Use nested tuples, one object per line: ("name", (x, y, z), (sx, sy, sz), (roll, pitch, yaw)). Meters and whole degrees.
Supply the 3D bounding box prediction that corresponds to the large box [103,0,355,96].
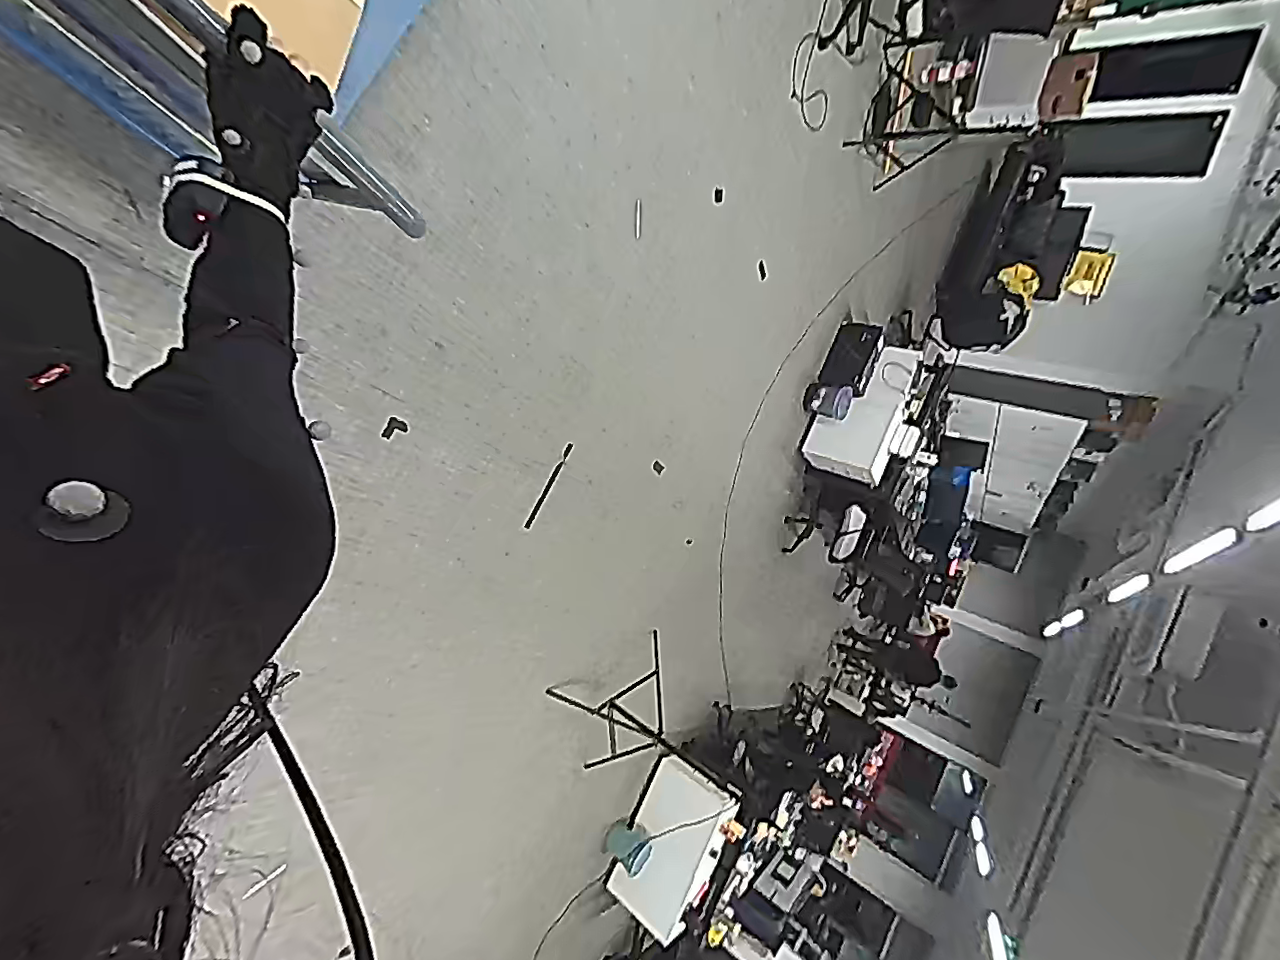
("large box", (-0.676, -0.853, 0.782), (0.408, 0.320, 0.320), (16, 96, -57))
